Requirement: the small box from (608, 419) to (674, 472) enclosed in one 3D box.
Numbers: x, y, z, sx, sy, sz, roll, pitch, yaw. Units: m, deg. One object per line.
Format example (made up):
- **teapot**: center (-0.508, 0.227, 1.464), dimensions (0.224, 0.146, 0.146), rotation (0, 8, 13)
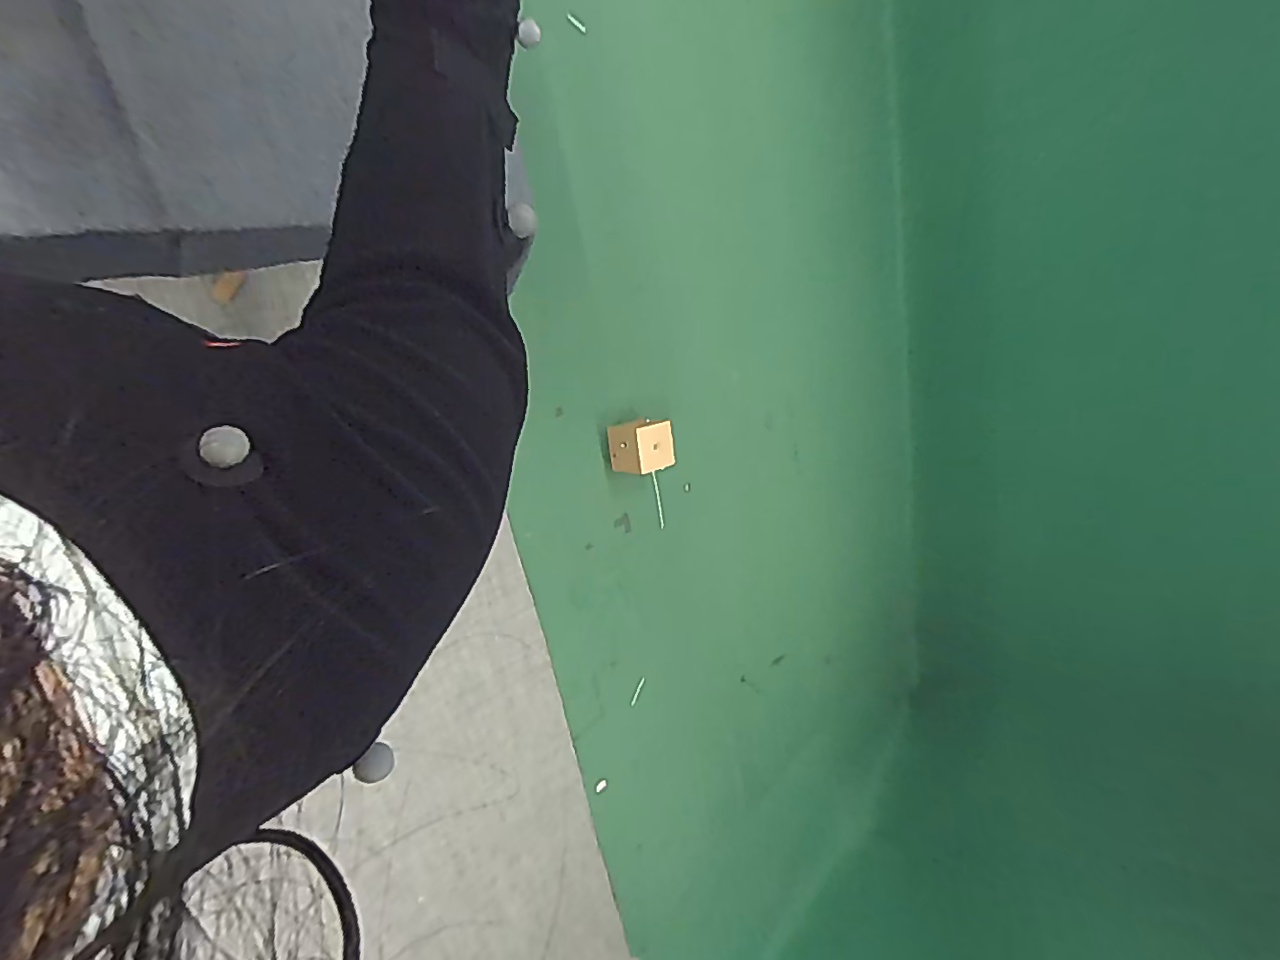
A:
- **small box**: center (-0.002, -0.129, 1.986), dimensions (0.179, 0.176, 0.168), rotation (-19, 108, -41)
